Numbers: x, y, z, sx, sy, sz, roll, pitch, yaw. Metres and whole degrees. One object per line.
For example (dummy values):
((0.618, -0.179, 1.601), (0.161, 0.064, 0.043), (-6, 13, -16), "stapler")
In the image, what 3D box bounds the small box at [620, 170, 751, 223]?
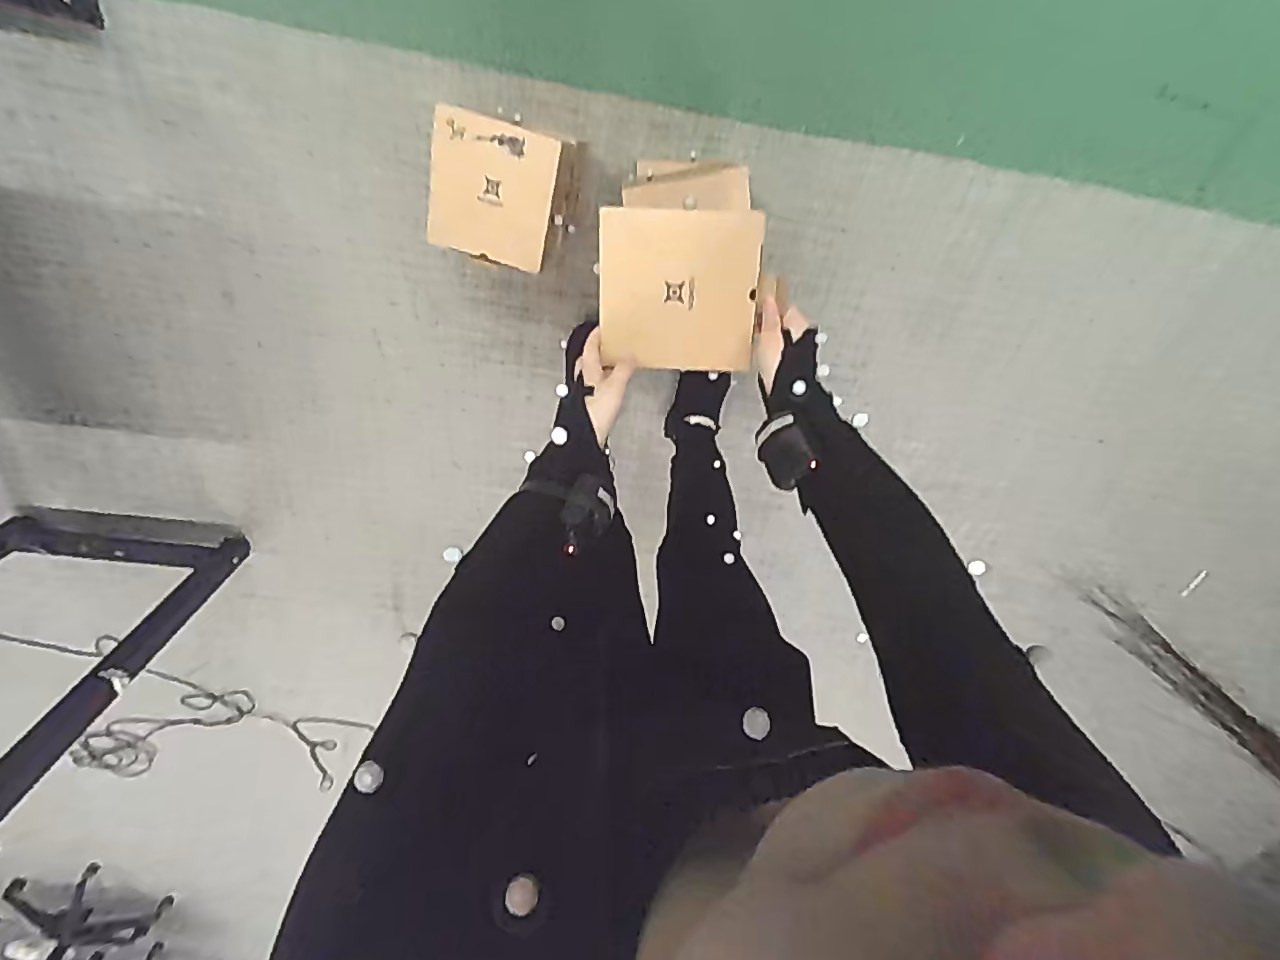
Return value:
((0.071, -0.367, 0.833), (0.179, 0.176, 0.168), (-10, 122, 4), "small box")

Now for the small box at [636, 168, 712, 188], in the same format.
((0.079, -0.459, 0.967), (0.179, 0.176, 0.168), (1, 121, -2), "small box")

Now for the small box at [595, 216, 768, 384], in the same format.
((0.043, -0.213, 0.651), (0.179, 0.176, 0.168), (2, 110, 1), "small box")

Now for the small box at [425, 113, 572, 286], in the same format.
((-0.202, -0.413, 0.801), (0.168, 0.176, 0.179), (14, 120, -8), "small box")
